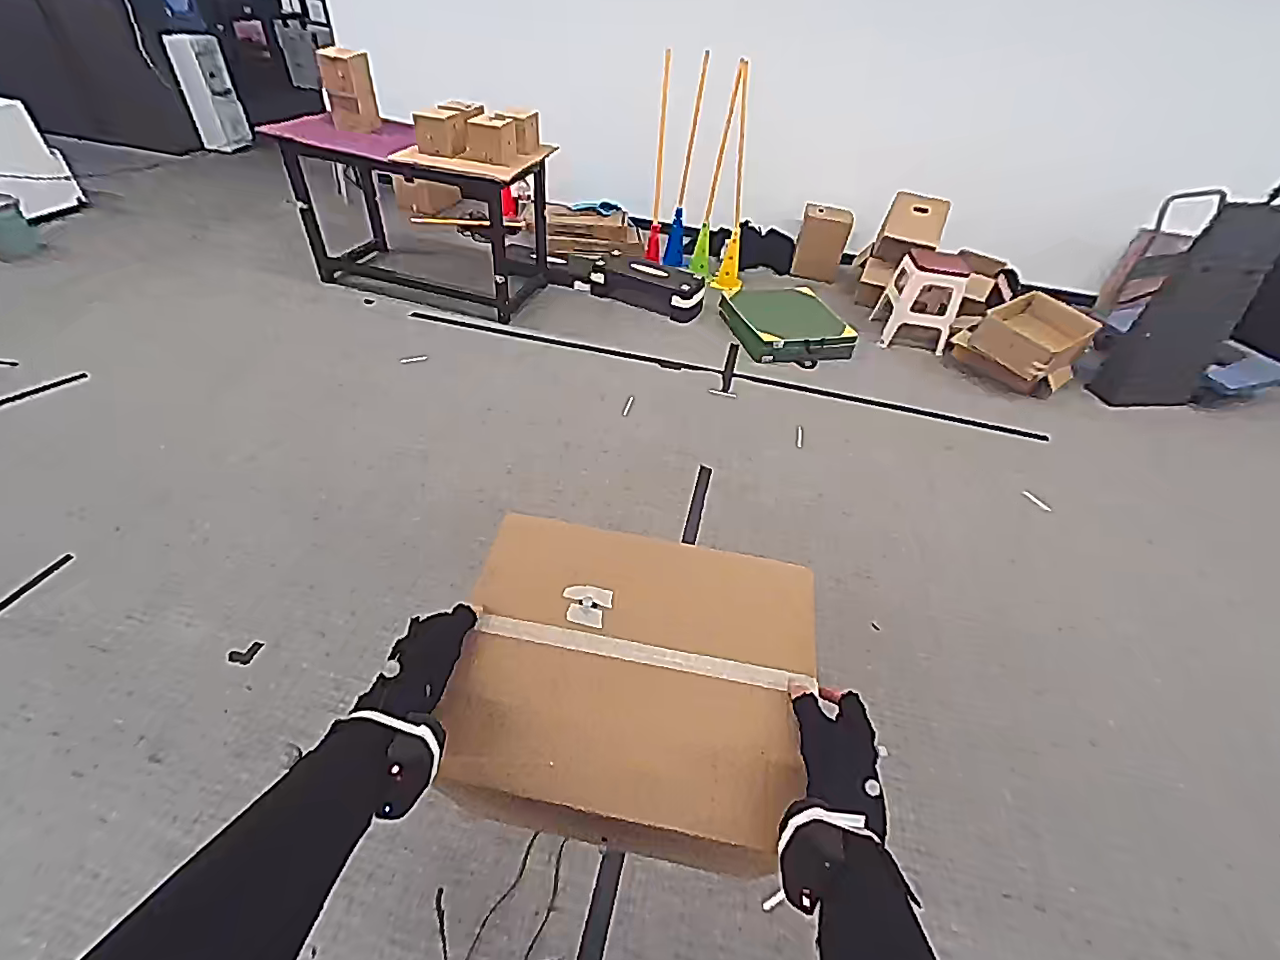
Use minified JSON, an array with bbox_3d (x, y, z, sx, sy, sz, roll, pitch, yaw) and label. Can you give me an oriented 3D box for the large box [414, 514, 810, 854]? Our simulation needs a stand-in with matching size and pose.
[{"bbox_3d":[-0.012,0.284,0.735,0.408,0.320,0.320,10,51,5],"label":"large box"}]
